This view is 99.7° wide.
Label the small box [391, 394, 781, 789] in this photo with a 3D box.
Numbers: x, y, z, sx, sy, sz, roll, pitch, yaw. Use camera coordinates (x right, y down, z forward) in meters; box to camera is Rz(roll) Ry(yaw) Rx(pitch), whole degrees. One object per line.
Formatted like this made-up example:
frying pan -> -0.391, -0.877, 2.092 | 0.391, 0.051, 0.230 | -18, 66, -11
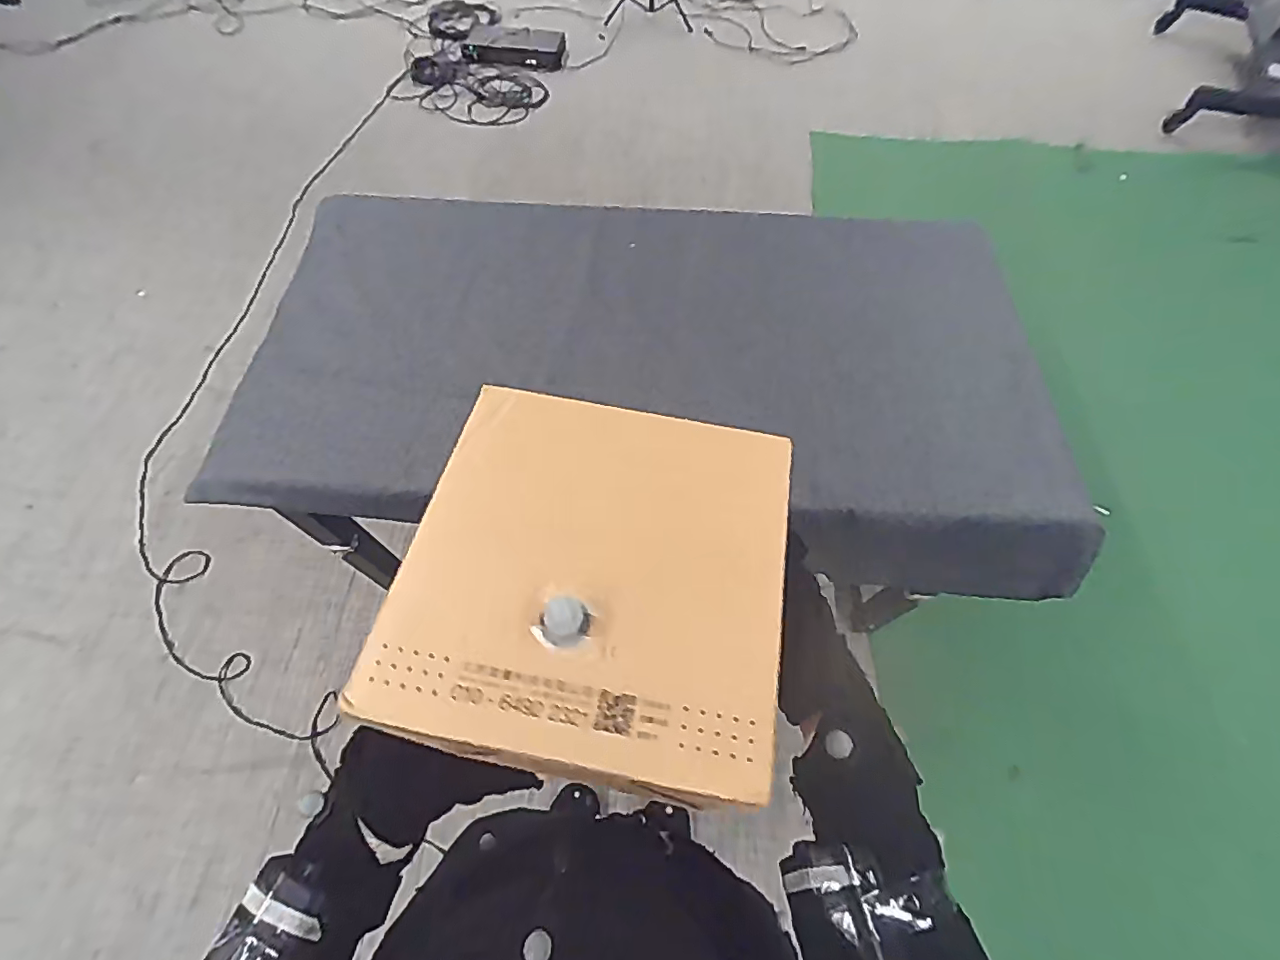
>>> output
small box -> -0.021, 0.078, 0.329 | 0.168, 0.179, 0.176 | 10, 60, 3
